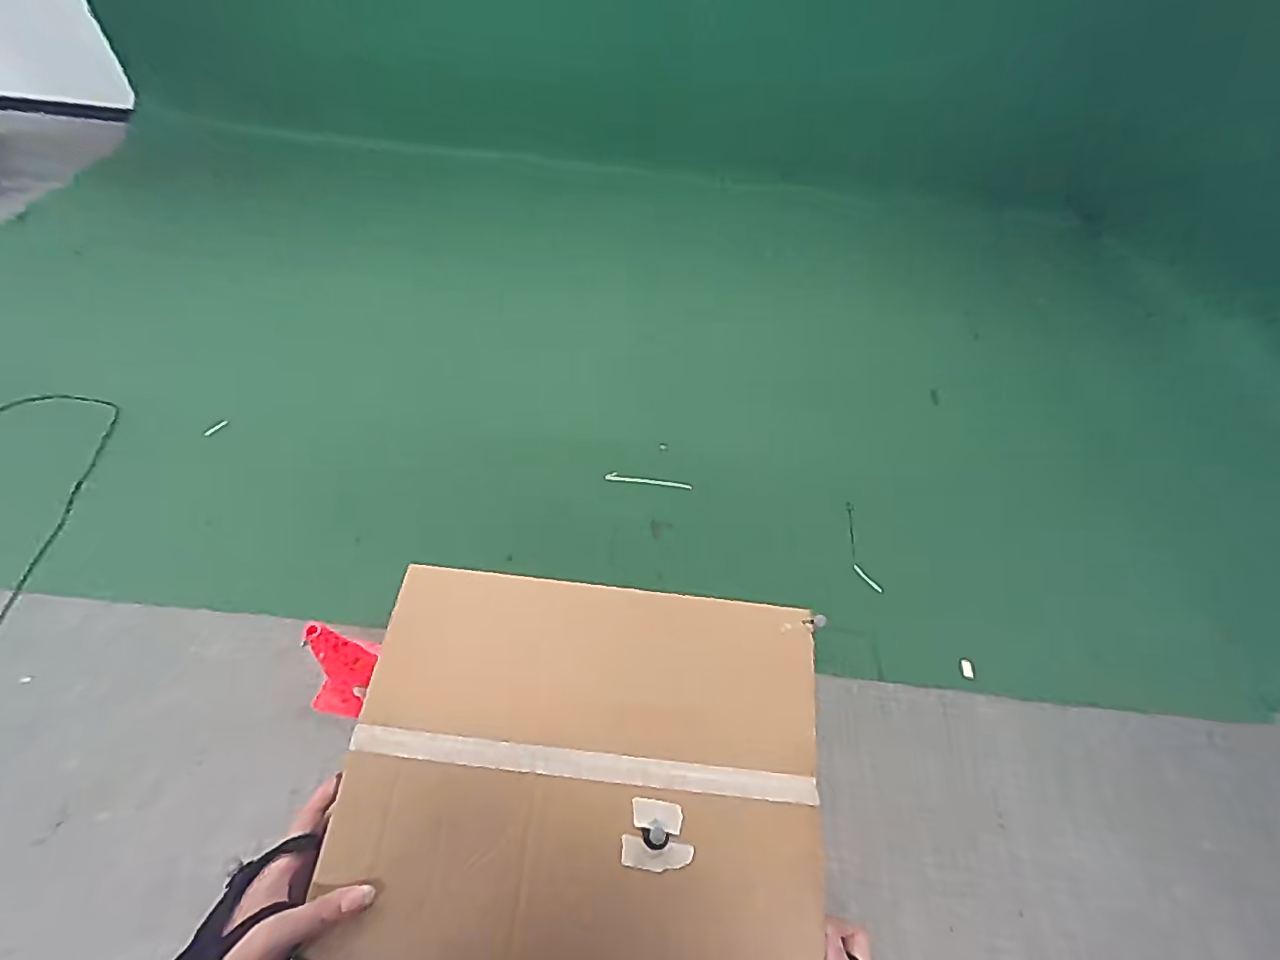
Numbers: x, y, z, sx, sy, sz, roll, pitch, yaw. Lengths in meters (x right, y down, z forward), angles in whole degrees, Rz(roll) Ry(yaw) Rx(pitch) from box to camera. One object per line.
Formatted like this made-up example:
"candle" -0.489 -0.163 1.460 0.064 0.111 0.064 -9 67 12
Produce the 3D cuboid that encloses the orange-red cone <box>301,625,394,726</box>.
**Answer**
"orange-red cone" -0.761 0.456 1.361 0.199 0.360 0.198 11 51 6

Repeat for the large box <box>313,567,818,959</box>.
"large box" -0.053 0.311 0.617 0.408 0.320 0.320 6 64 1
